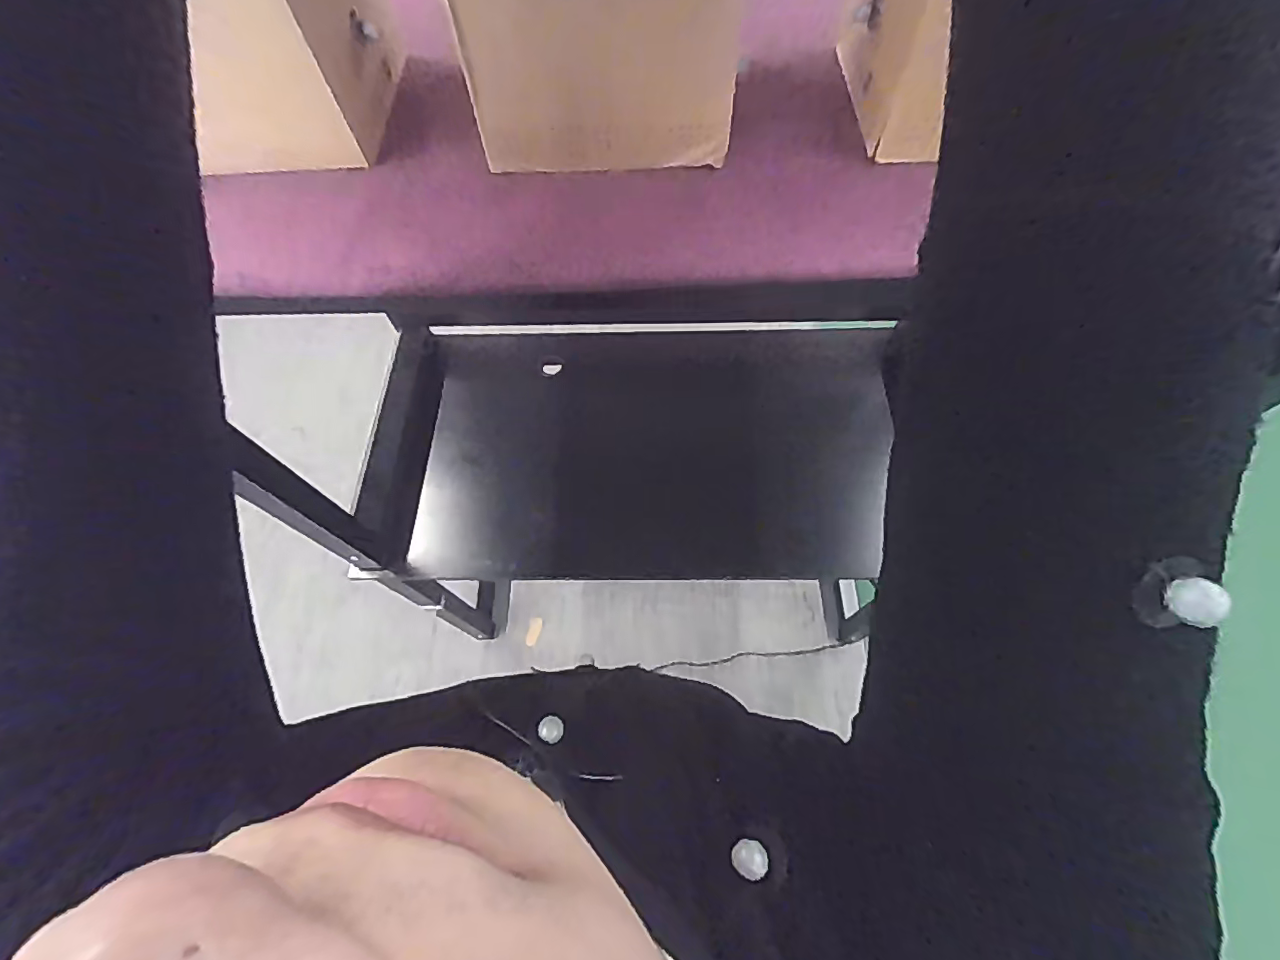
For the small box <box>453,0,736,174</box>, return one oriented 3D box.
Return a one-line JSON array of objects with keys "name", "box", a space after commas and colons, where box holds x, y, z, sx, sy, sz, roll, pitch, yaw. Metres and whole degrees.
[{"name": "small box", "box": [-0.026, -0.334, 0.367, 0.179, 0.176, 0.168, 0, 63, 2]}]
